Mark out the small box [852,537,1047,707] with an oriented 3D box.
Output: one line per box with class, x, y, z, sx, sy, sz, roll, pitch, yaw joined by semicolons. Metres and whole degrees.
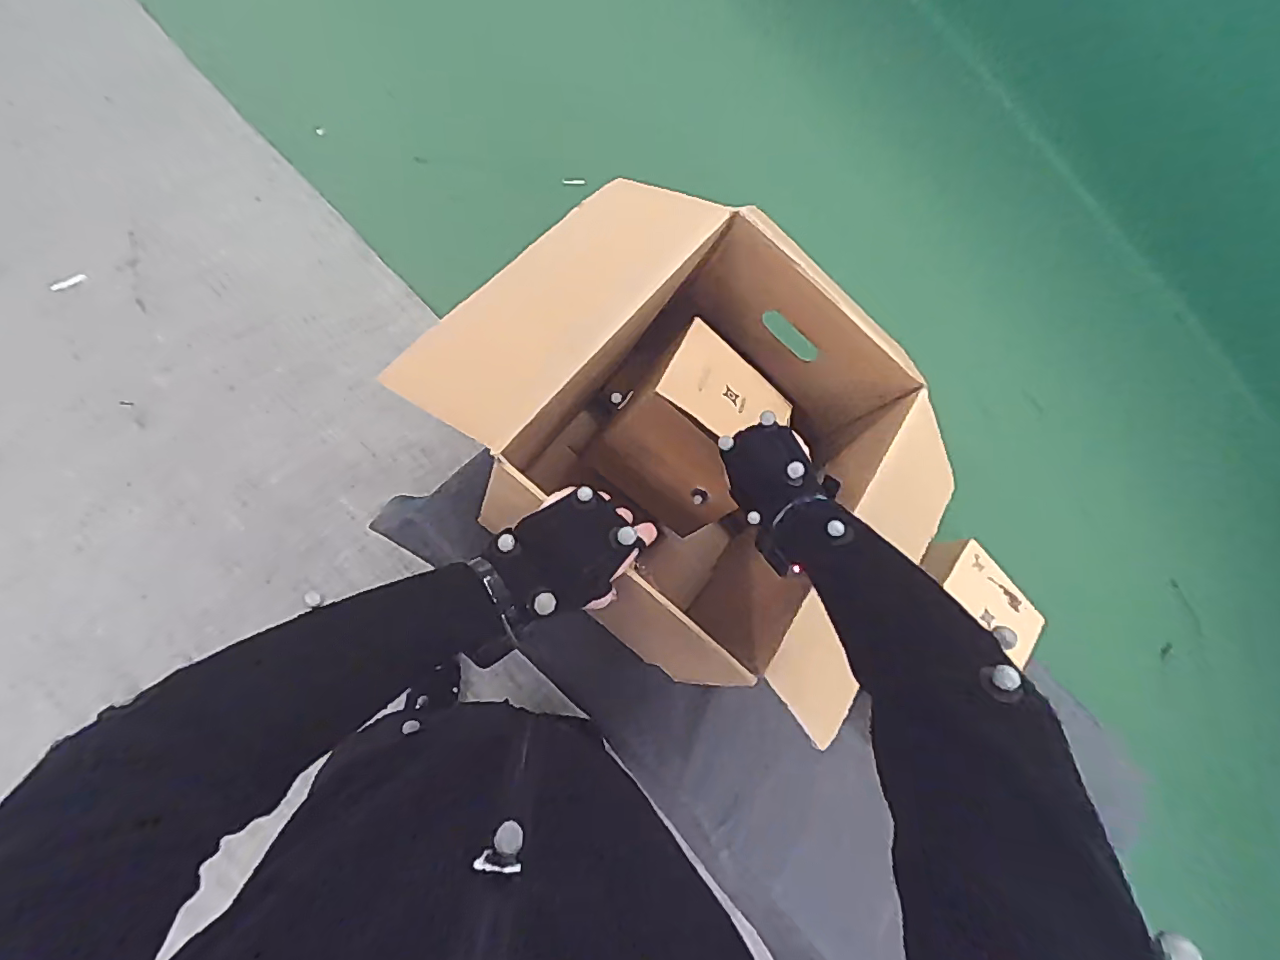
small box;0.460;0.215;0.832;0.179;0.176;0.168;-41;91;-22
